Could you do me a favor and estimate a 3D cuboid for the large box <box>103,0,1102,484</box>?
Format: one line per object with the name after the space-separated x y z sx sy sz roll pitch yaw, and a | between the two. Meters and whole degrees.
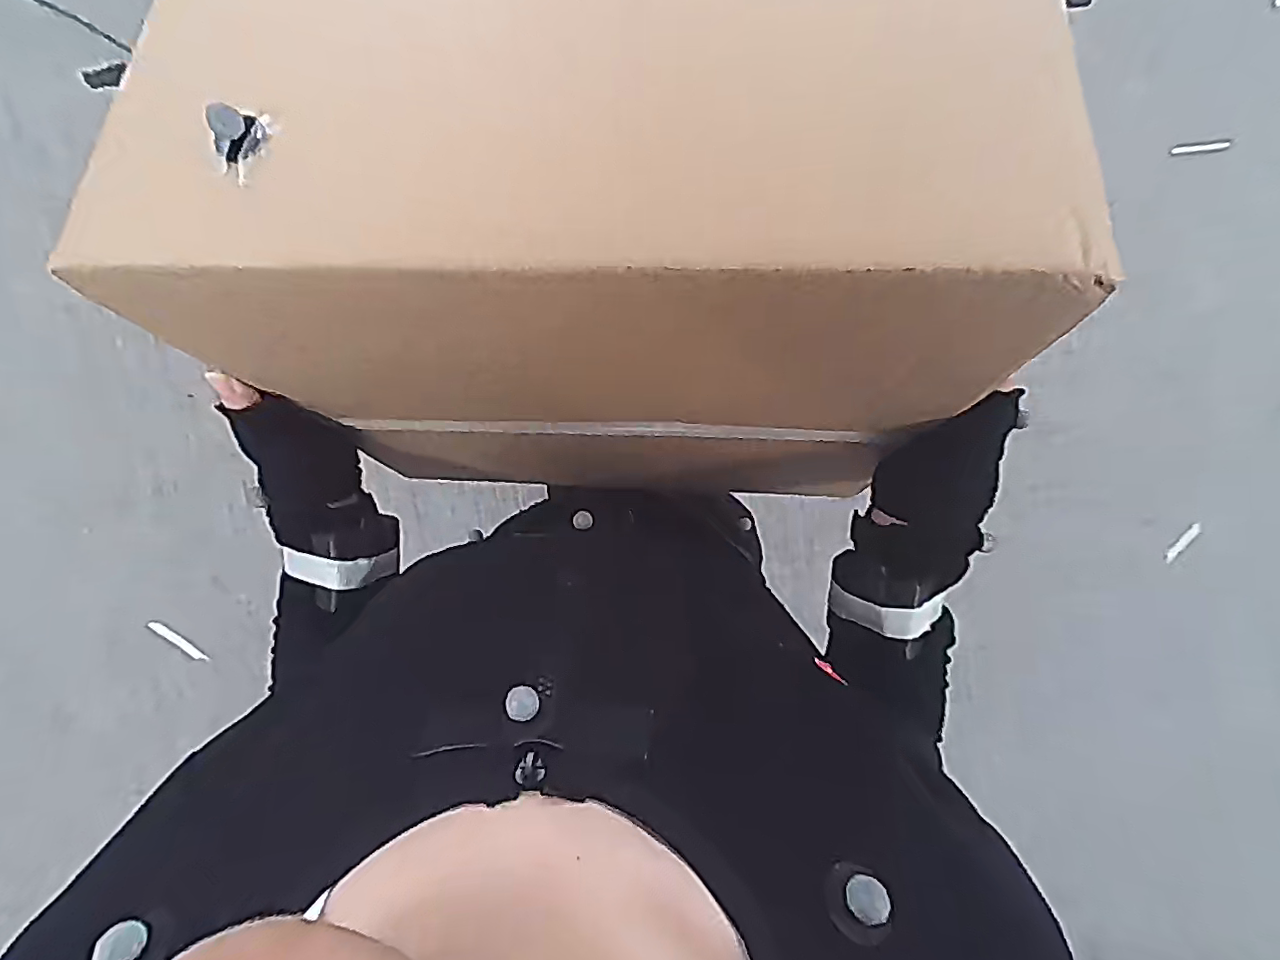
-0.015 -0.191 0.392 0.408 0.320 0.320 2 75 4 | large box
